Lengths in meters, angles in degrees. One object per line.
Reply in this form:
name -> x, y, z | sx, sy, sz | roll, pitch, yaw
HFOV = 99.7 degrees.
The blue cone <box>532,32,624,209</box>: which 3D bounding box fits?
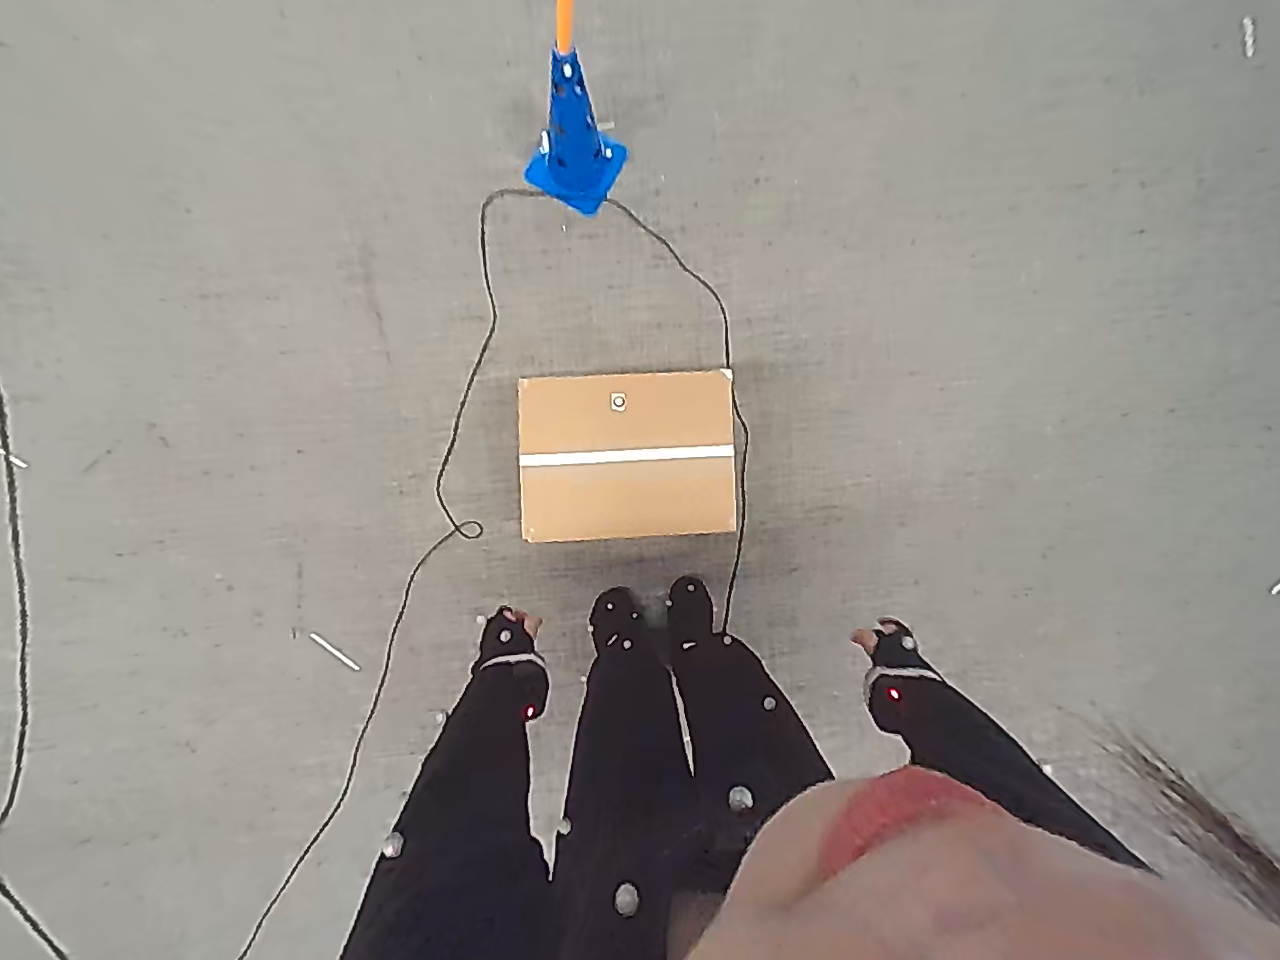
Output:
blue cone -> -0.140, -0.774, 1.140 | 0.192, 0.380, 0.193 | 27, 87, -3
